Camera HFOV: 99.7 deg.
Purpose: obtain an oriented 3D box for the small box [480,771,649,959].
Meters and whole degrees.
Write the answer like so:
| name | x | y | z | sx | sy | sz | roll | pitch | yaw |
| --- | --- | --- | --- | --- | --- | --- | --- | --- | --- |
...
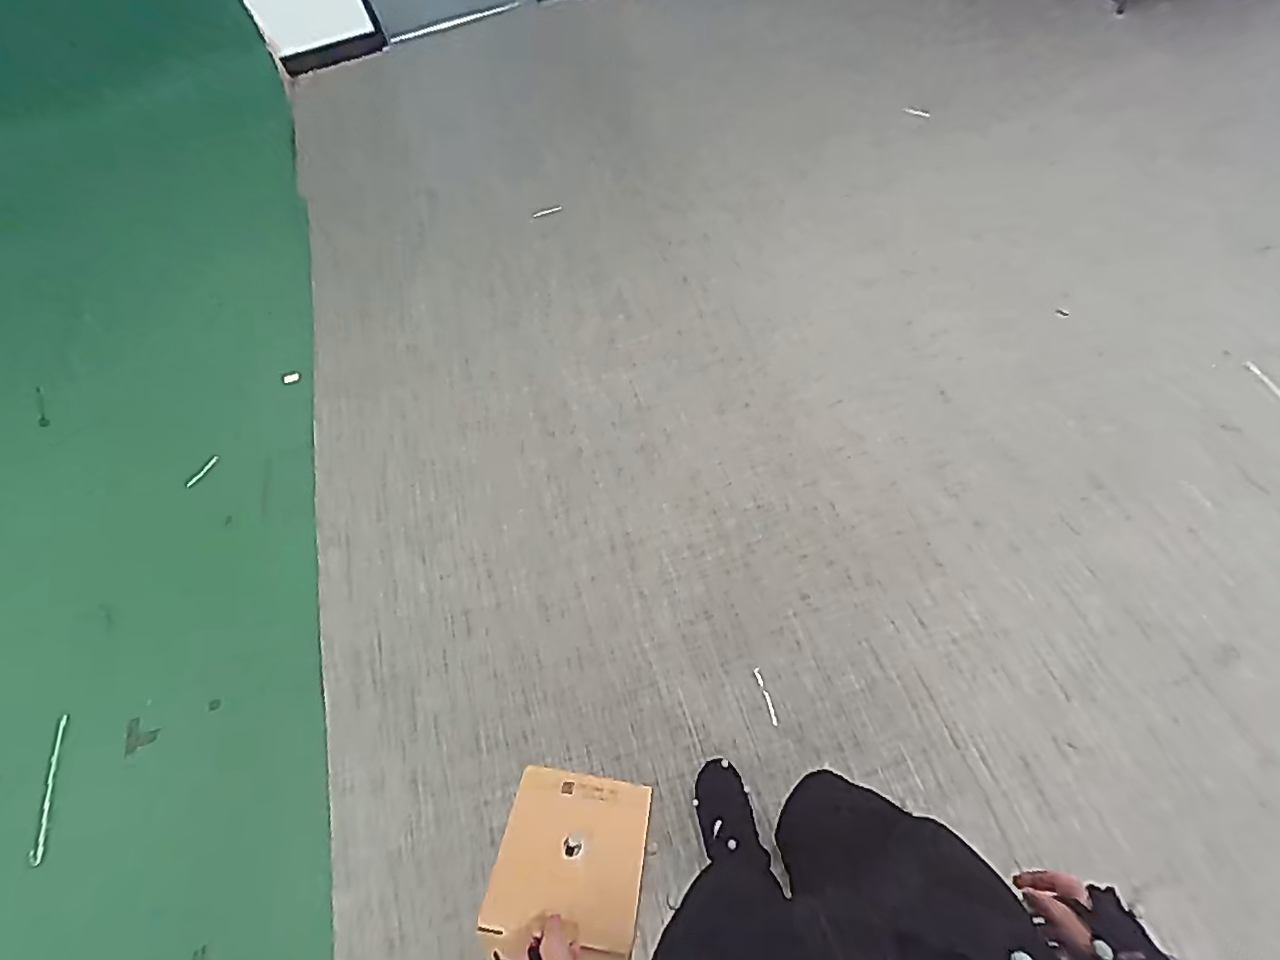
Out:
| name | x | y | z | sx | sy | sz | roll | pitch | yaw |
| --- | --- | --- | --- | --- | --- | --- | --- | --- | --- |
| small box | -0.082 | 0.486 | 0.667 | 0.168 | 0.179 | 0.176 | 8 | 39 | 4 |
